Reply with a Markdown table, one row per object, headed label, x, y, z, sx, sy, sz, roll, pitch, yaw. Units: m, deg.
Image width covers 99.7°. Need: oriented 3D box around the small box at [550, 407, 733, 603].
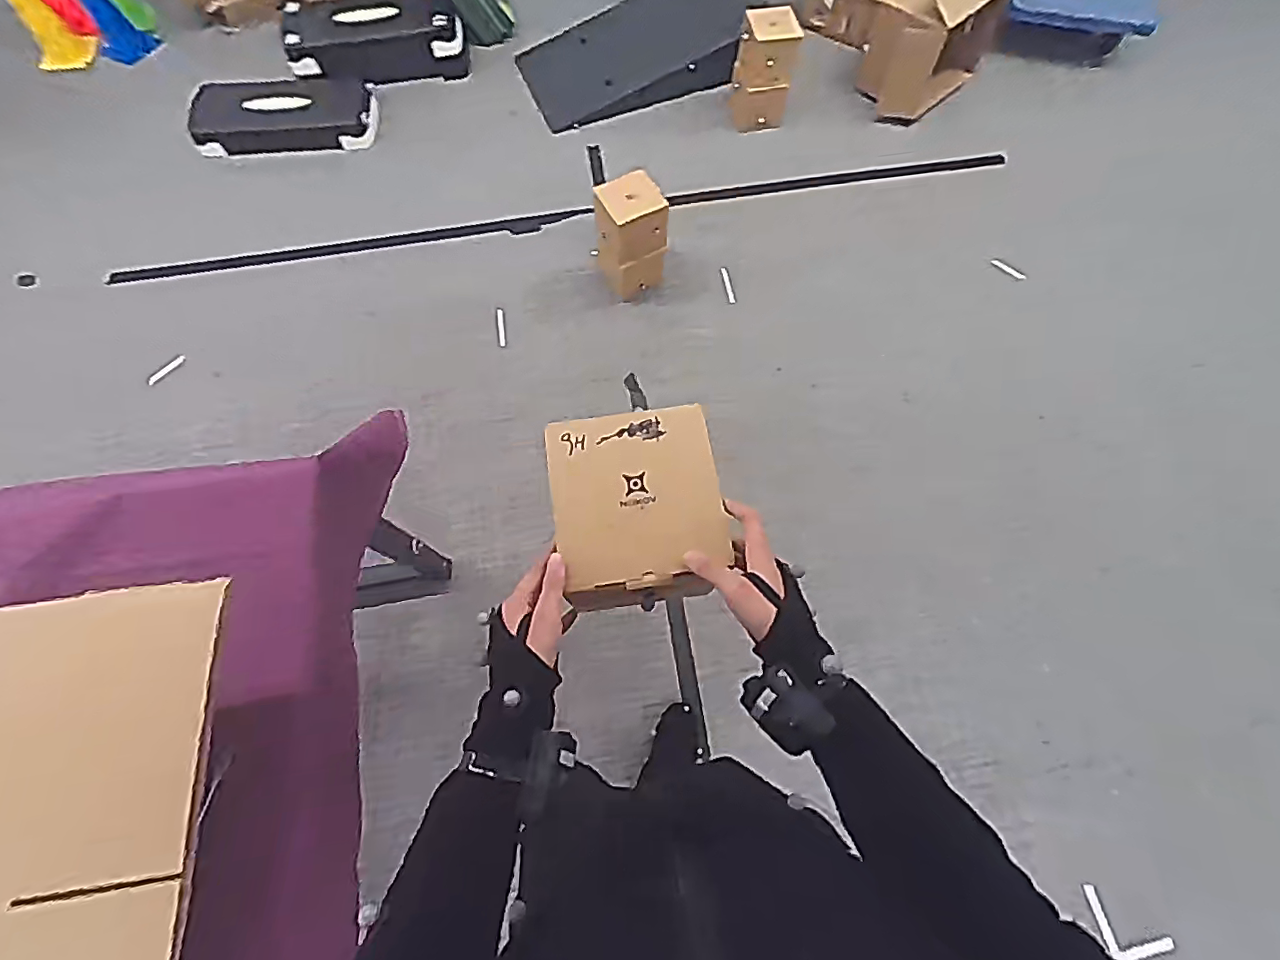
| label | x | y | z | sx | sy | sz | roll | pitch | yaw |
| --- | --- | --- | --- | --- | --- | --- | --- | --- | --- |
| small box | -0.002 | 0.040 | 0.609 | 0.168 | 0.176 | 0.179 | -7 | 71 | -4 |
